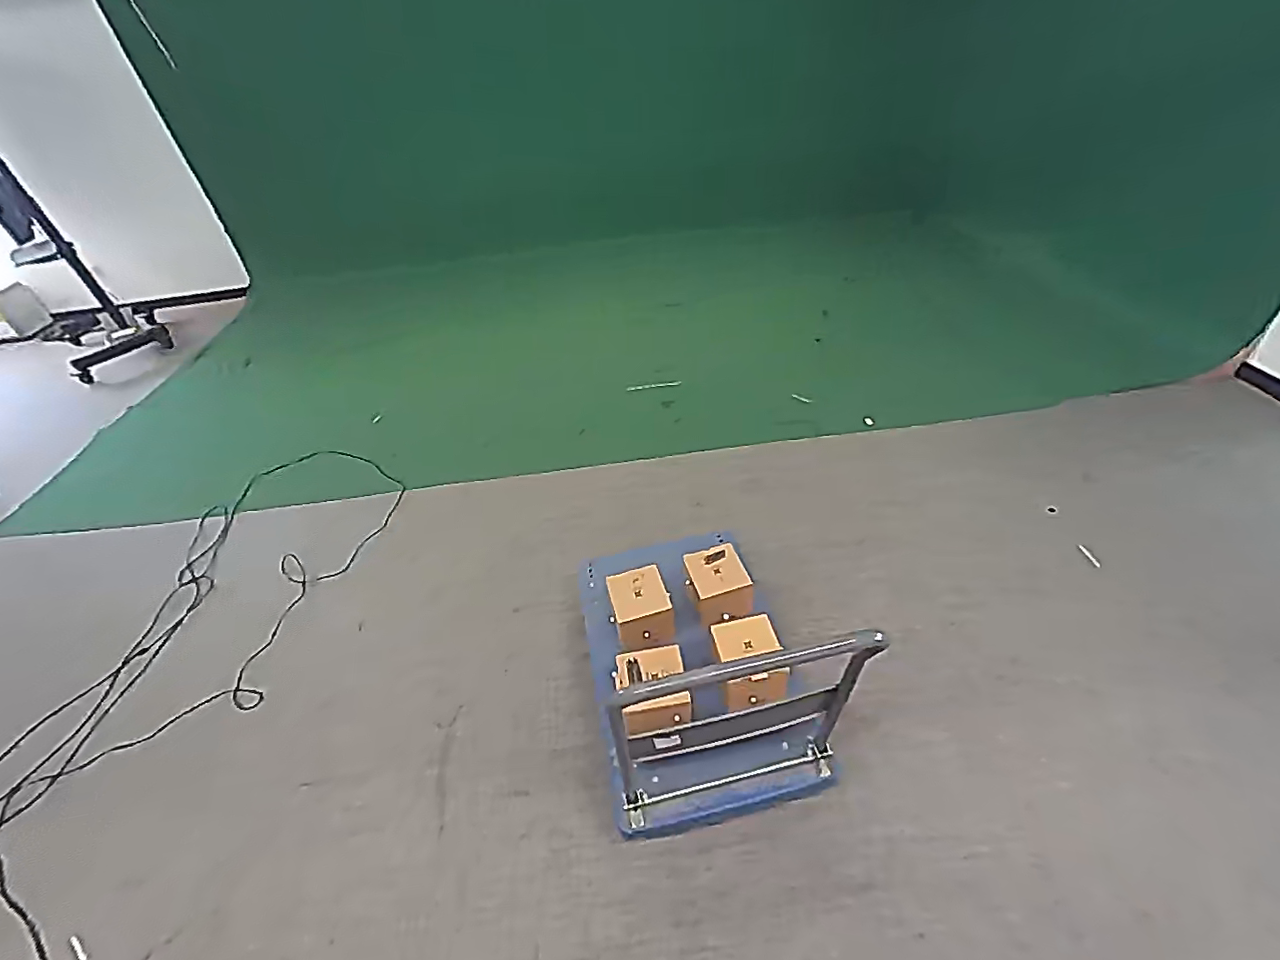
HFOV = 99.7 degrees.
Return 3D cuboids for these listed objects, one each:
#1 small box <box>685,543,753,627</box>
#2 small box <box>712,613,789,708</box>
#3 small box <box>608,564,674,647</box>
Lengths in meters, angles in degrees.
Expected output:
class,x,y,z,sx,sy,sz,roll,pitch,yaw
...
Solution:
class,x,y,z,sx,sy,sz,roll,pitch,yaw
small box,0.246,0.334,1.721,0.168,0.176,0.179,-15,43,-7
small box,0.303,0.508,1.521,0.168,0.176,0.179,-11,42,-5
small box,0.005,0.397,1.684,0.168,0.176,0.179,-14,42,-9
